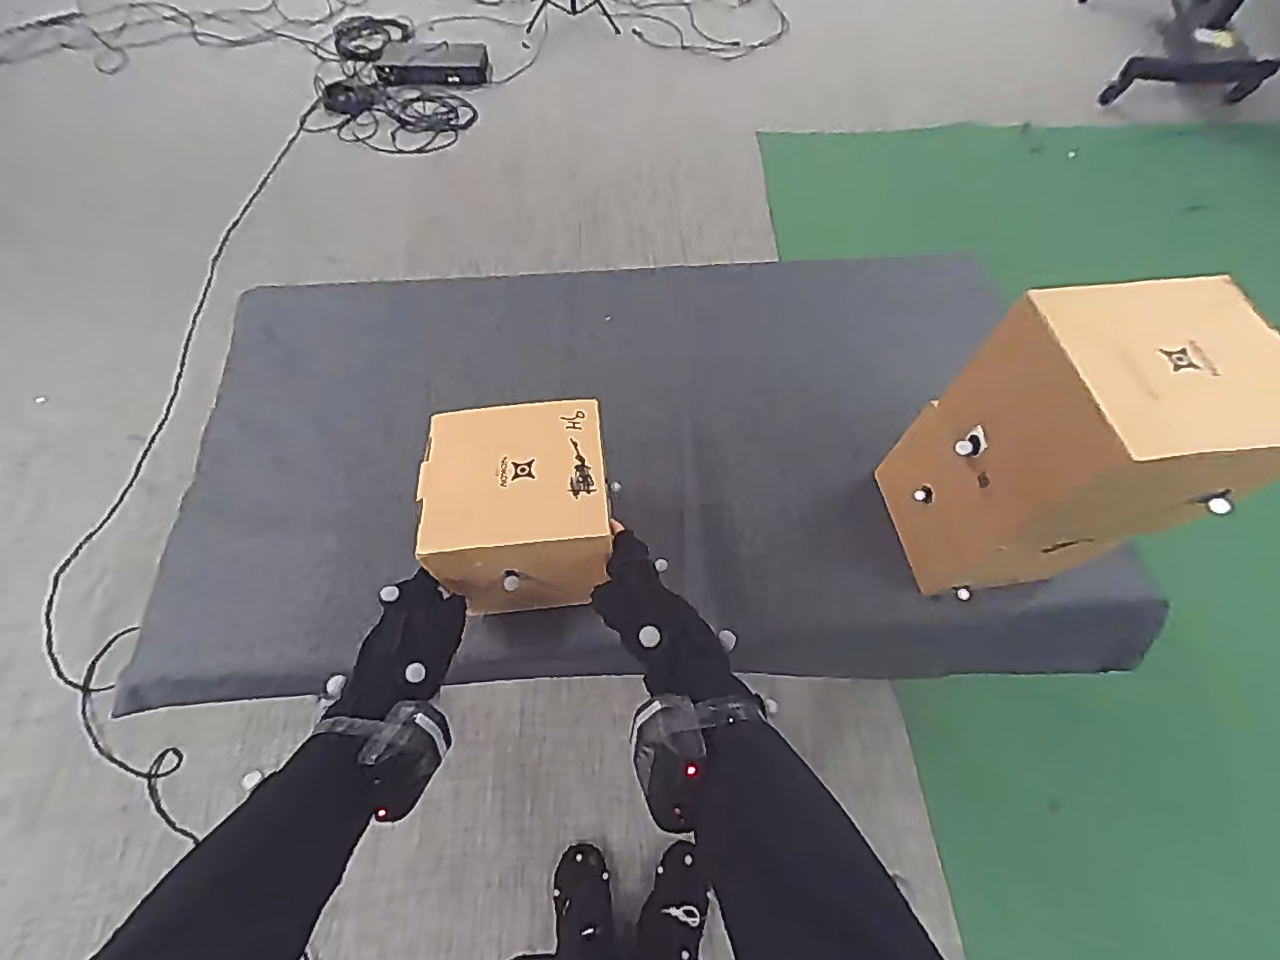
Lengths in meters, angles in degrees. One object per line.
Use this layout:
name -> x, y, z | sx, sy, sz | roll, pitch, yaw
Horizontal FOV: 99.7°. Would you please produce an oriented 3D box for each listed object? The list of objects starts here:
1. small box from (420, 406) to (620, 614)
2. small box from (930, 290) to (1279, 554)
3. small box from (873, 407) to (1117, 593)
small box -> -0.120, 0.041, 0.605 | 0.179, 0.176, 0.168 | -6, 57, -2
small box -> 0.406, -0.044, 0.489 | 0.179, 0.176, 0.168 | -6, 60, -2
small box -> 0.406, 0.025, 0.636 | 0.168, 0.176, 0.179 | -7, 61, -4
